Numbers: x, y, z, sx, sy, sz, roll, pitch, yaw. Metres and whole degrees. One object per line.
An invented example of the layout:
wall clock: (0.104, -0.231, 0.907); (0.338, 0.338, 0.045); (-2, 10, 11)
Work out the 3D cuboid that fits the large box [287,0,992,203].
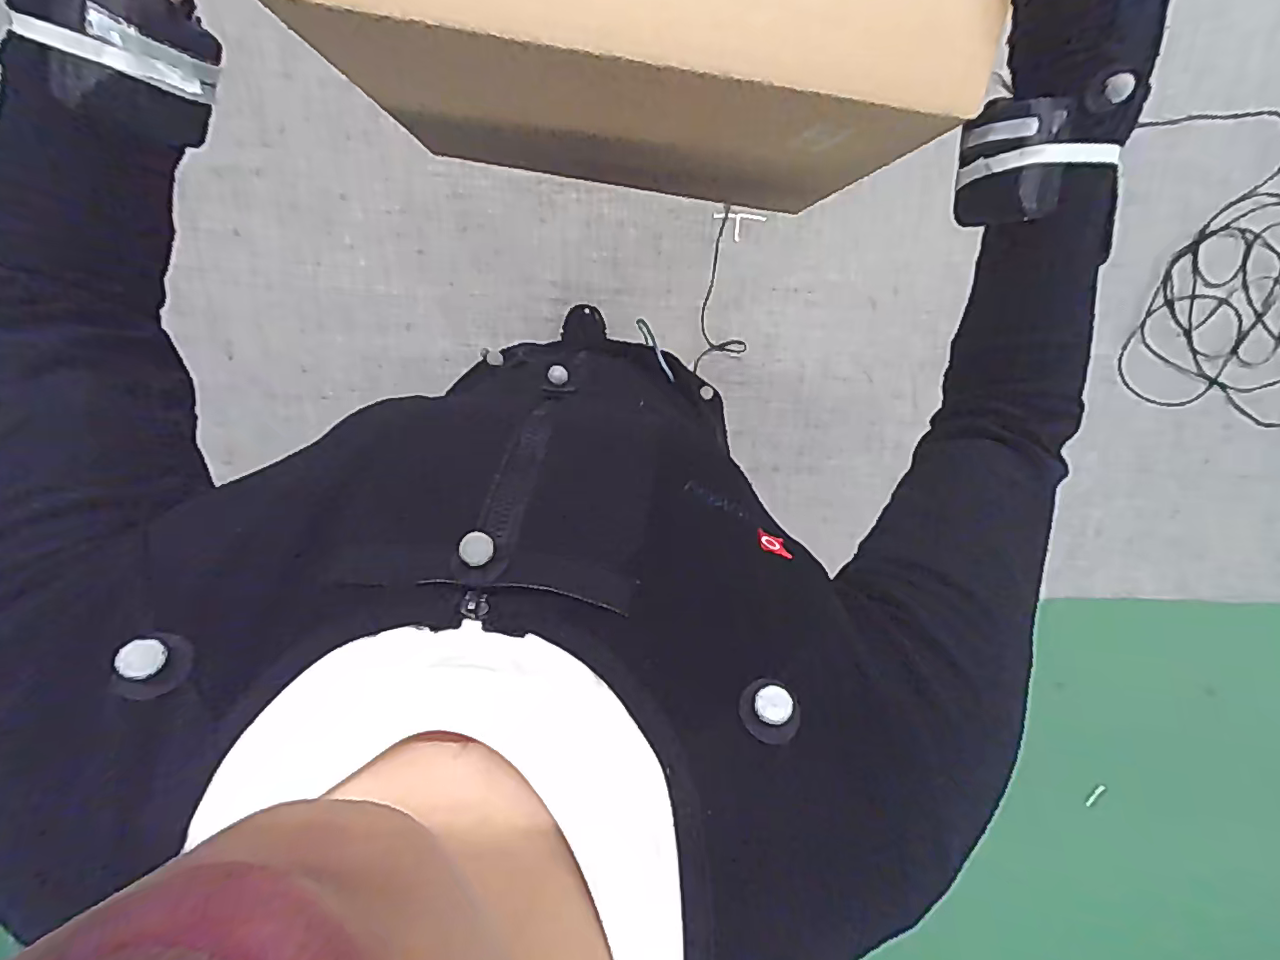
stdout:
large box: (0.007, -0.428, 0.406); (0.408, 0.320, 0.320); (6, 107, -5)
